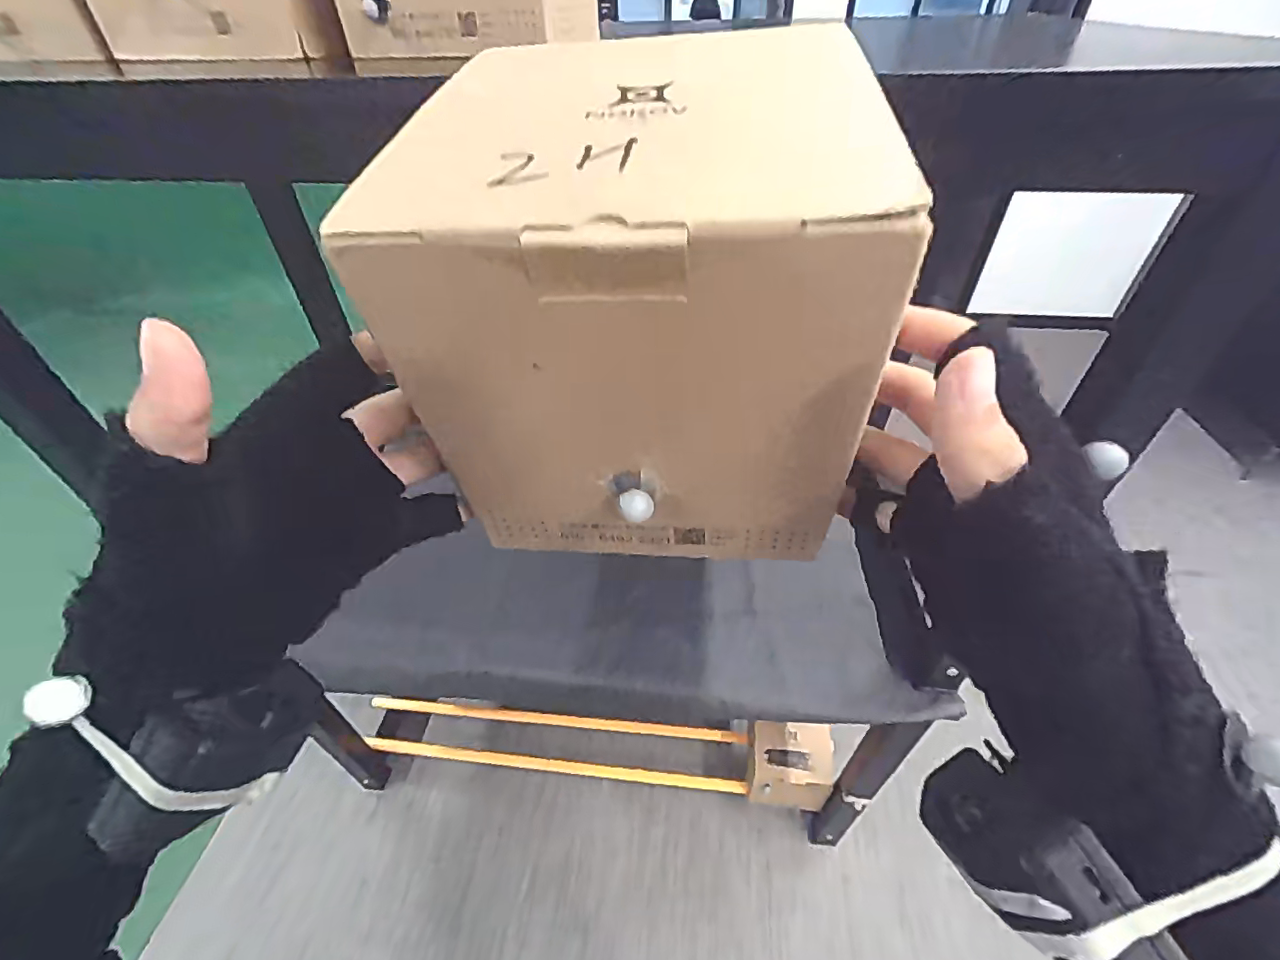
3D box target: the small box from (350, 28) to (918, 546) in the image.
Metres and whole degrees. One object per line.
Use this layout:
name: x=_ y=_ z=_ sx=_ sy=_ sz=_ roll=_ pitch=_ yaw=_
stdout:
small box: x=0.008 y=-0.089 z=0.264 sx=0.168 sy=0.176 sz=0.179 roll=1 pitch=51 yaw=8
